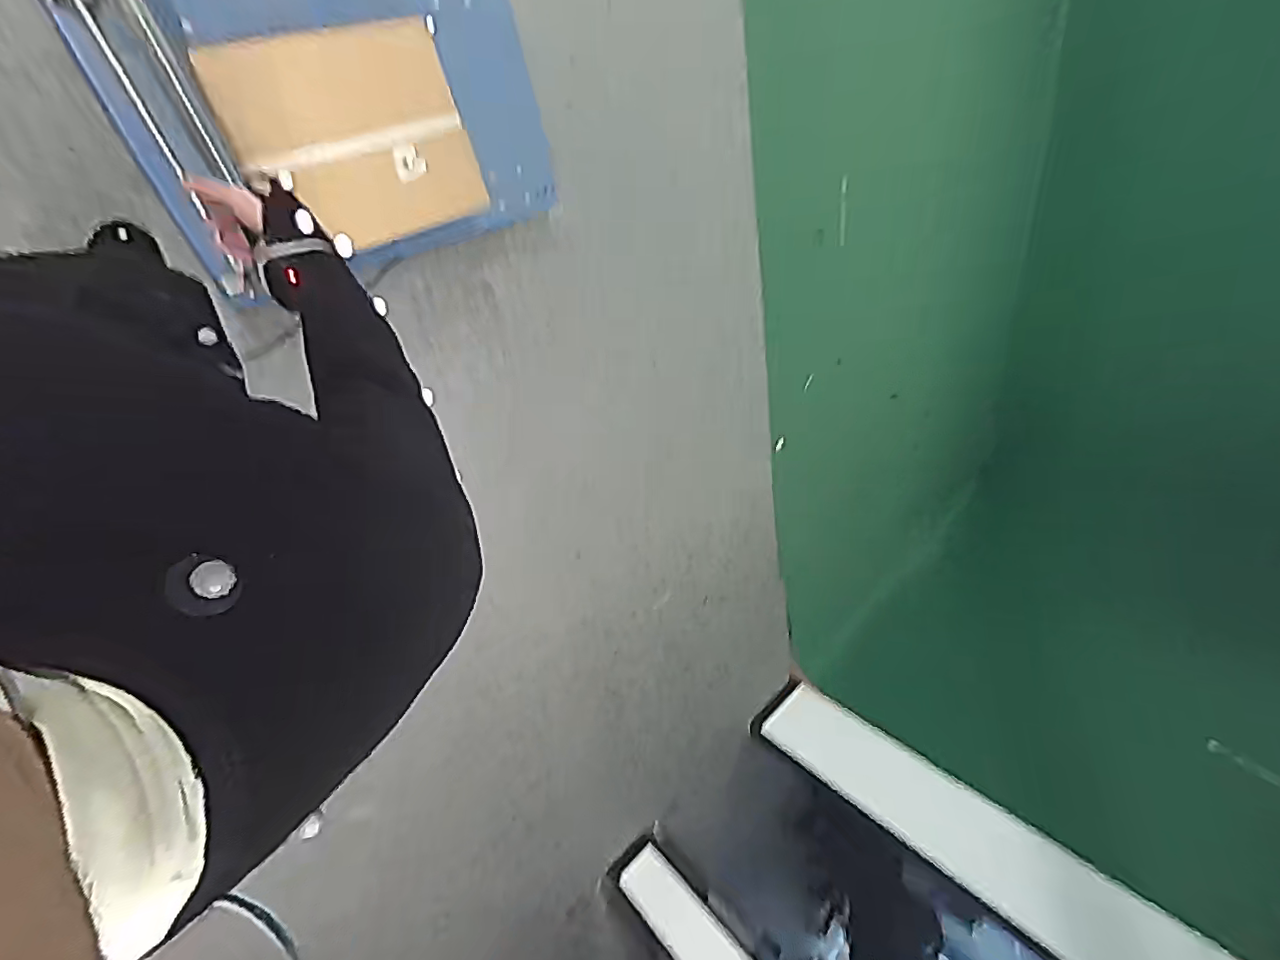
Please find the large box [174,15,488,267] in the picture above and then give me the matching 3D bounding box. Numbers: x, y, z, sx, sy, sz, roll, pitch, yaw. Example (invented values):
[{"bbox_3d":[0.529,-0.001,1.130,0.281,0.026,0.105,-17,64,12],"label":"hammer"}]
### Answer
[{"bbox_3d":[-0.591,-0.643,1.063,0.408,0.320,0.320,-36,128,-27],"label":"large box"}]
